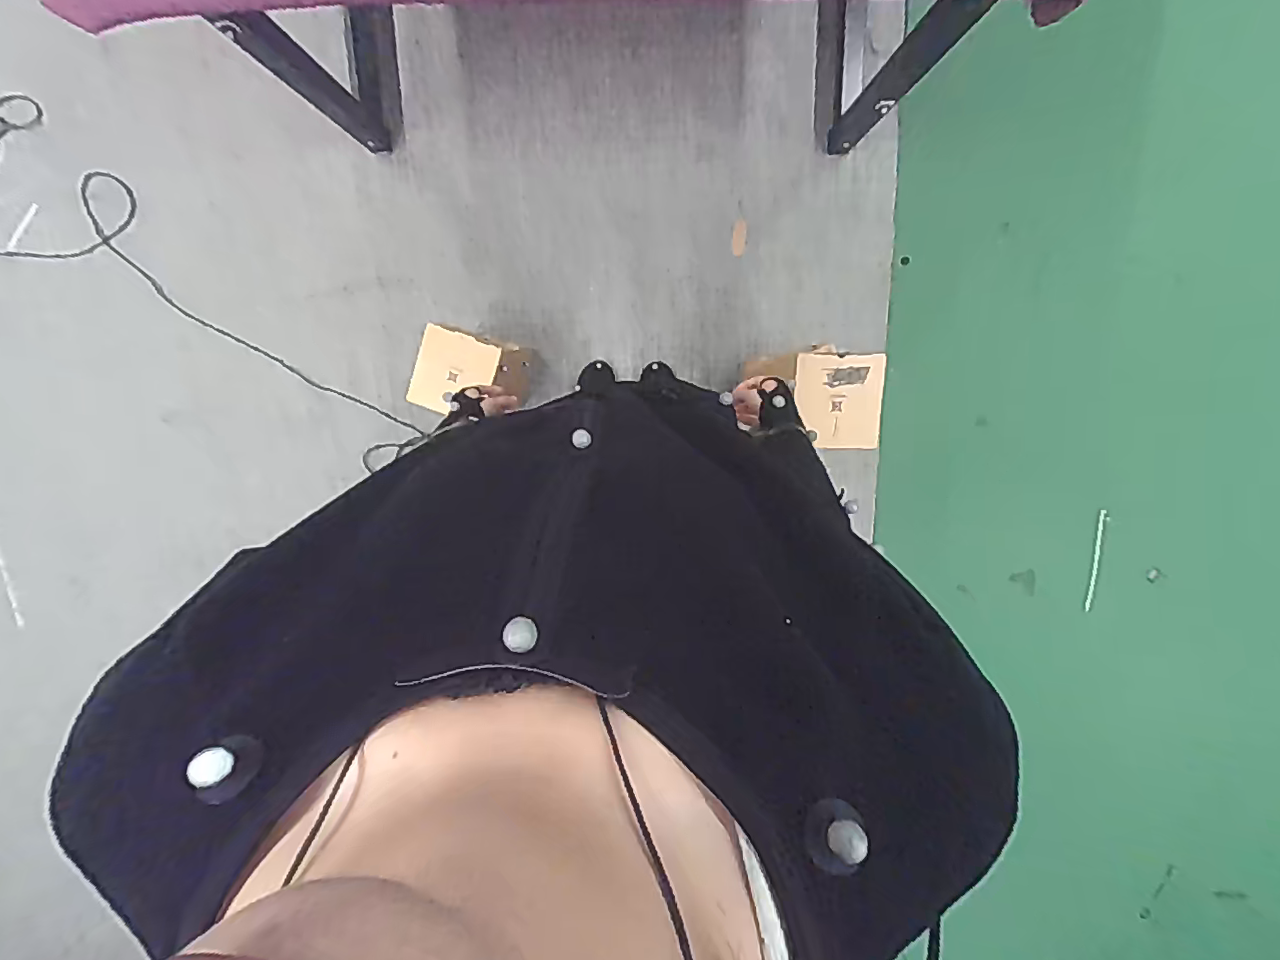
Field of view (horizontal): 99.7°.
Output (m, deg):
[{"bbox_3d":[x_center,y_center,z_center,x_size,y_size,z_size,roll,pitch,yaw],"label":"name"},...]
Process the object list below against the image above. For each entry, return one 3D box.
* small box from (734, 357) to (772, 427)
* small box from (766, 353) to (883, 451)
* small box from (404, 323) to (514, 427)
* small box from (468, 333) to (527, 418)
[{"bbox_3d":[0.349,-0.219,1.394,0.179,0.176,0.168,9,102,-2],"label":"small box"},{"bbox_3d":[0.354,-0.158,1.071,0.168,0.176,0.179,1,103,-2],"label":"small box"},{"bbox_3d":[-0.397,-0.234,1.214,0.168,0.176,0.179,20,100,-4],"label":"small box"},{"bbox_3d":[-0.391,-0.269,1.371,0.168,0.176,0.179,14,102,-3],"label":"small box"}]
